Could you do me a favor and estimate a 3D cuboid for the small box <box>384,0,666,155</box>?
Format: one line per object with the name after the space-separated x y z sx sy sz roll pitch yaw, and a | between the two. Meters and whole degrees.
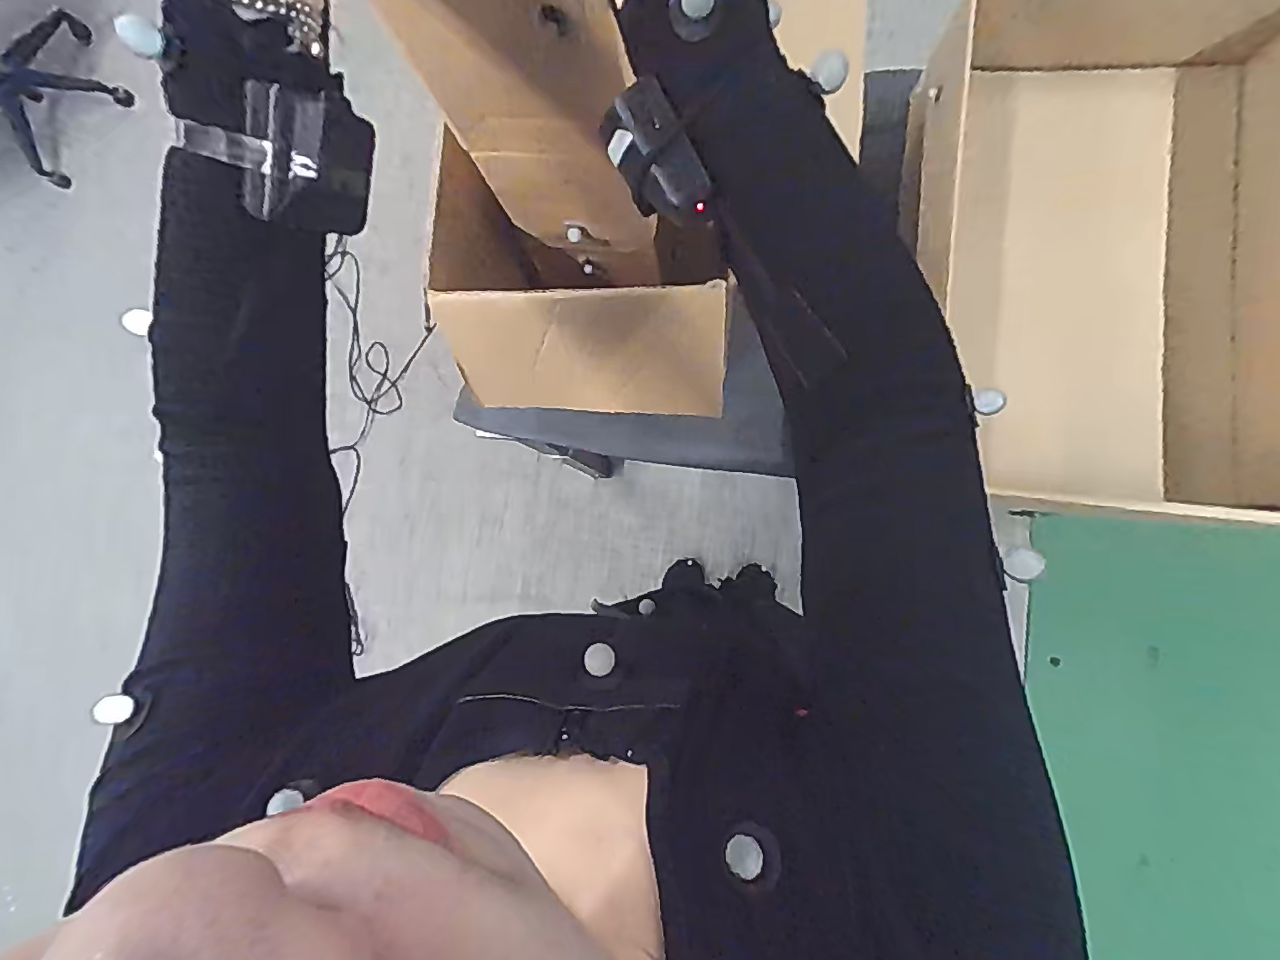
-0.082 -0.390 0.426 0.179 0.176 0.168 9 86 7 | small box

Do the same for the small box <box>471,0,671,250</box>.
-0.059 -0.379 0.586 0.168 0.176 0.179 8 88 8 | small box
